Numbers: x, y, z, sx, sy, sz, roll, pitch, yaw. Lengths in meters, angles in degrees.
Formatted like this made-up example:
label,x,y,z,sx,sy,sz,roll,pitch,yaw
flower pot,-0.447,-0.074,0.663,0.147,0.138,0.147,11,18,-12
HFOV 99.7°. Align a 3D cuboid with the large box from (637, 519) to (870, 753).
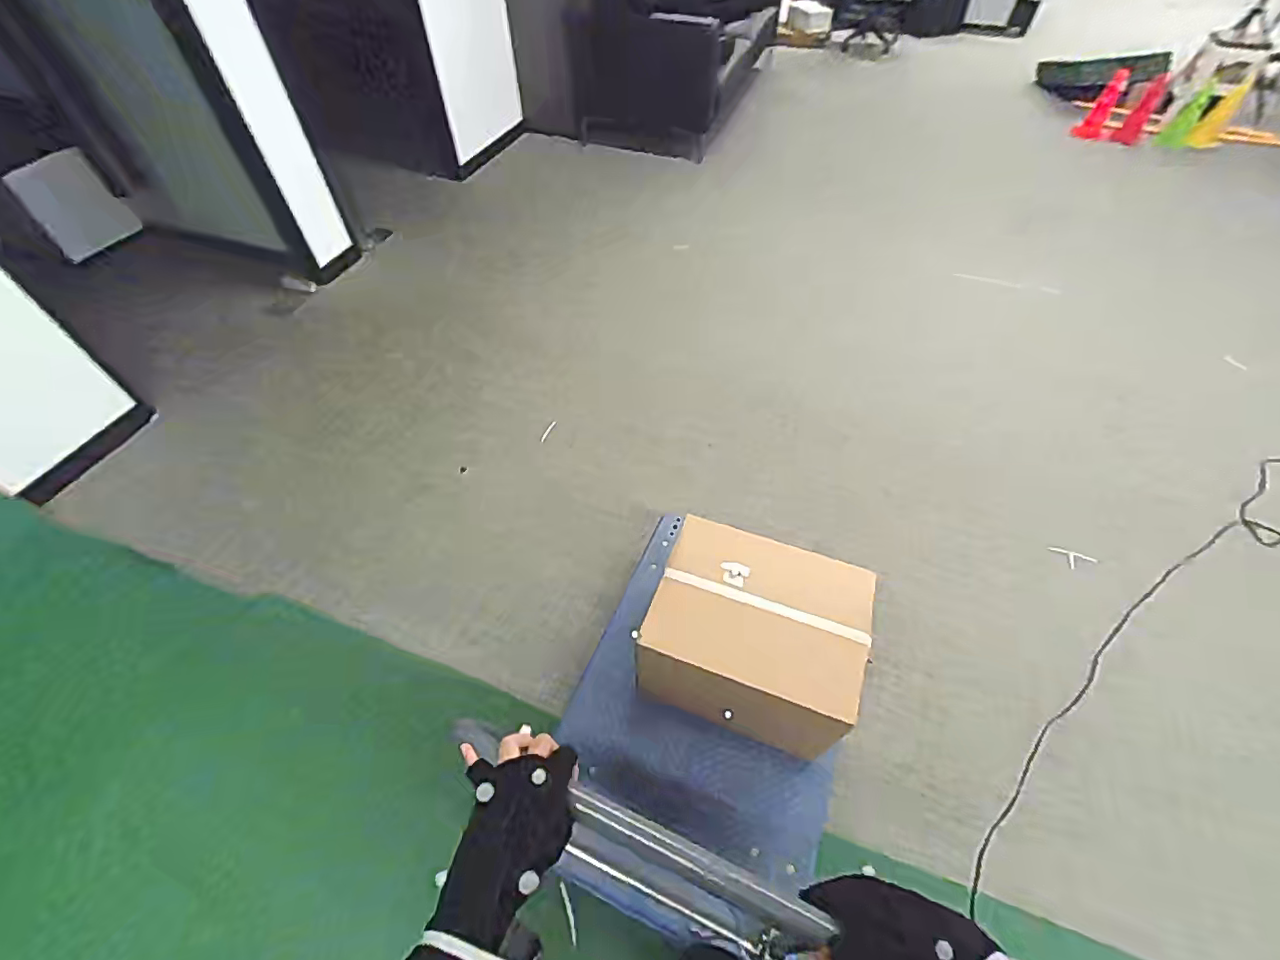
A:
label,x,y,z,sx,sy,sz,roll,pitch,yaw
large box,0.236,0.338,1.169,0.408,0.320,0.320,16,53,14
